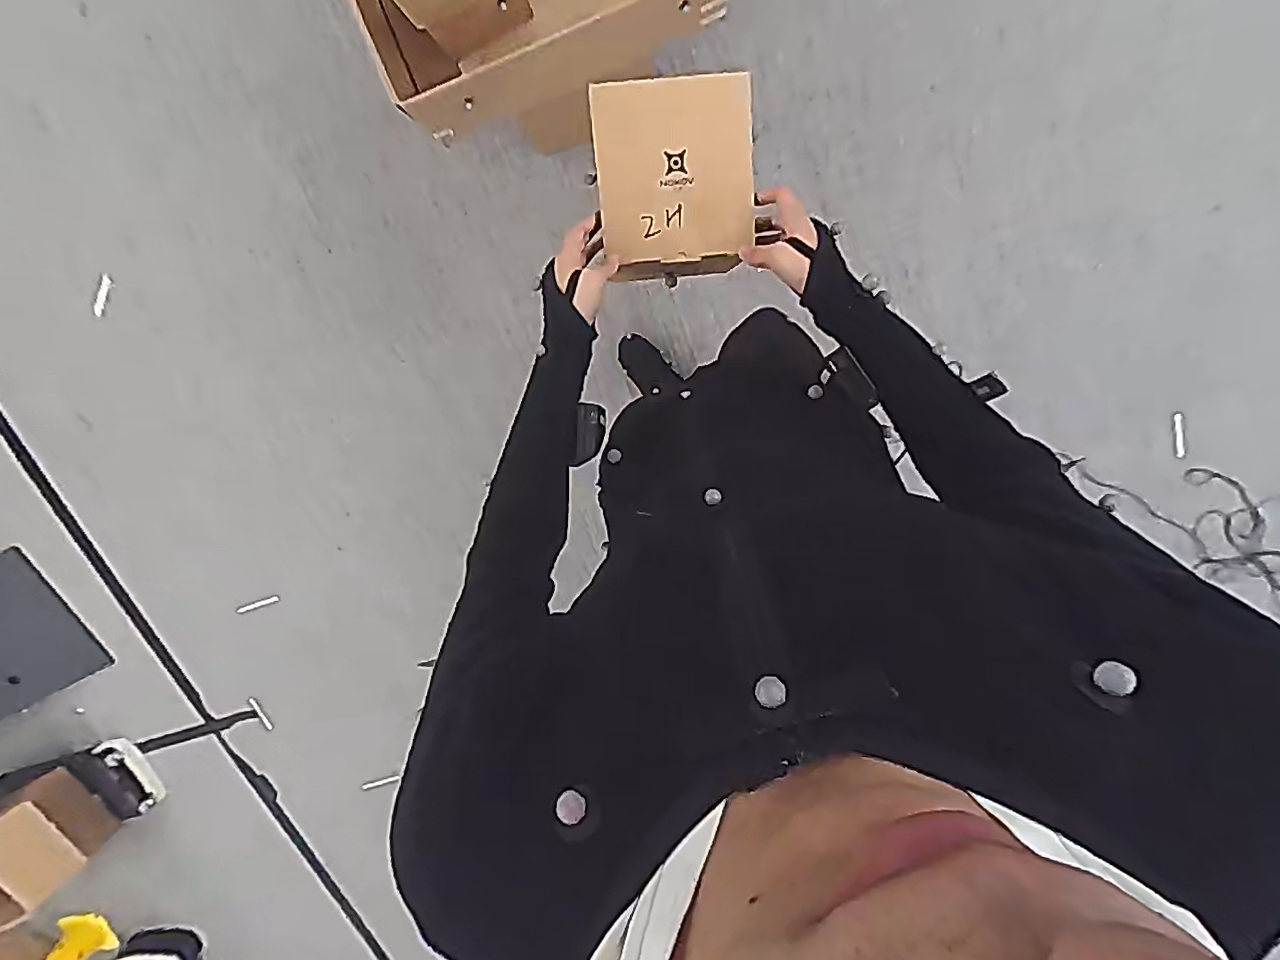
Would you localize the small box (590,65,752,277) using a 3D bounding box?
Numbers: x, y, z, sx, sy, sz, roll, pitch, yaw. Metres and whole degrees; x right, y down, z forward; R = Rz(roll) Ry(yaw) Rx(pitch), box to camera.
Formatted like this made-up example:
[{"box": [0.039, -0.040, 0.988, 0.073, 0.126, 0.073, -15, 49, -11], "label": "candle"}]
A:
[{"box": [0.031, -0.347, 0.639, 0.168, 0.176, 0.179, -5, 105, -1], "label": "small box"}]

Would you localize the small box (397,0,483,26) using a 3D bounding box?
[{"box": [-0.311, -0.795, 0.748, 0.168, 0.176, 0.179, -18, 104, 7], "label": "small box"}]

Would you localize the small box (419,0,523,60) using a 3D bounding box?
[{"box": [-0.311, -0.859, 0.899, 0.179, 0.176, 0.168, -24, 103, 9], "label": "small box"}]
